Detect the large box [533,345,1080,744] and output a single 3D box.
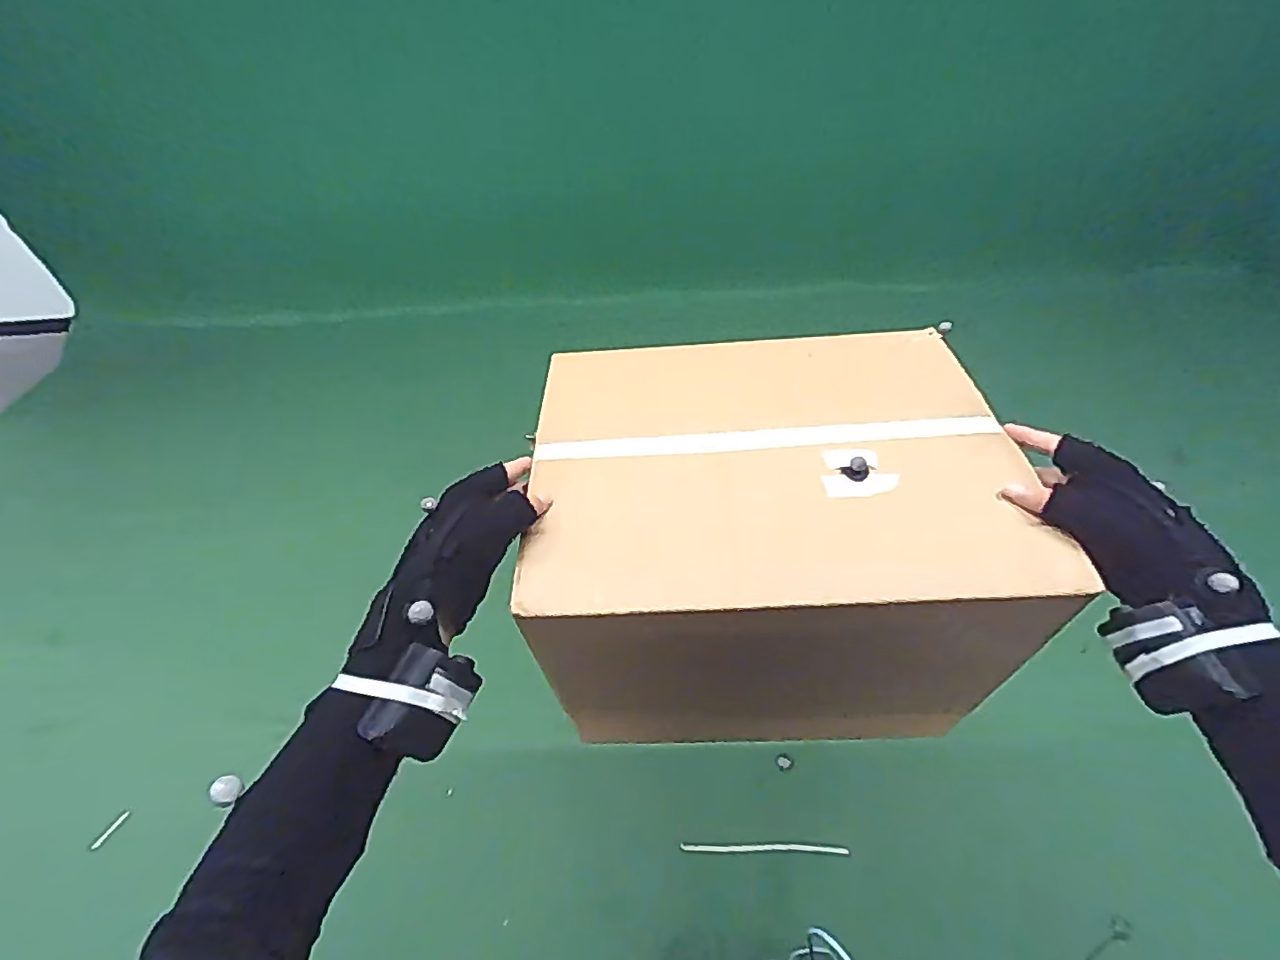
[{"bbox_3d":[0.122,0.077,0.597,0.408,0.320,0.320,-3,48,2],"label":"large box"}]
